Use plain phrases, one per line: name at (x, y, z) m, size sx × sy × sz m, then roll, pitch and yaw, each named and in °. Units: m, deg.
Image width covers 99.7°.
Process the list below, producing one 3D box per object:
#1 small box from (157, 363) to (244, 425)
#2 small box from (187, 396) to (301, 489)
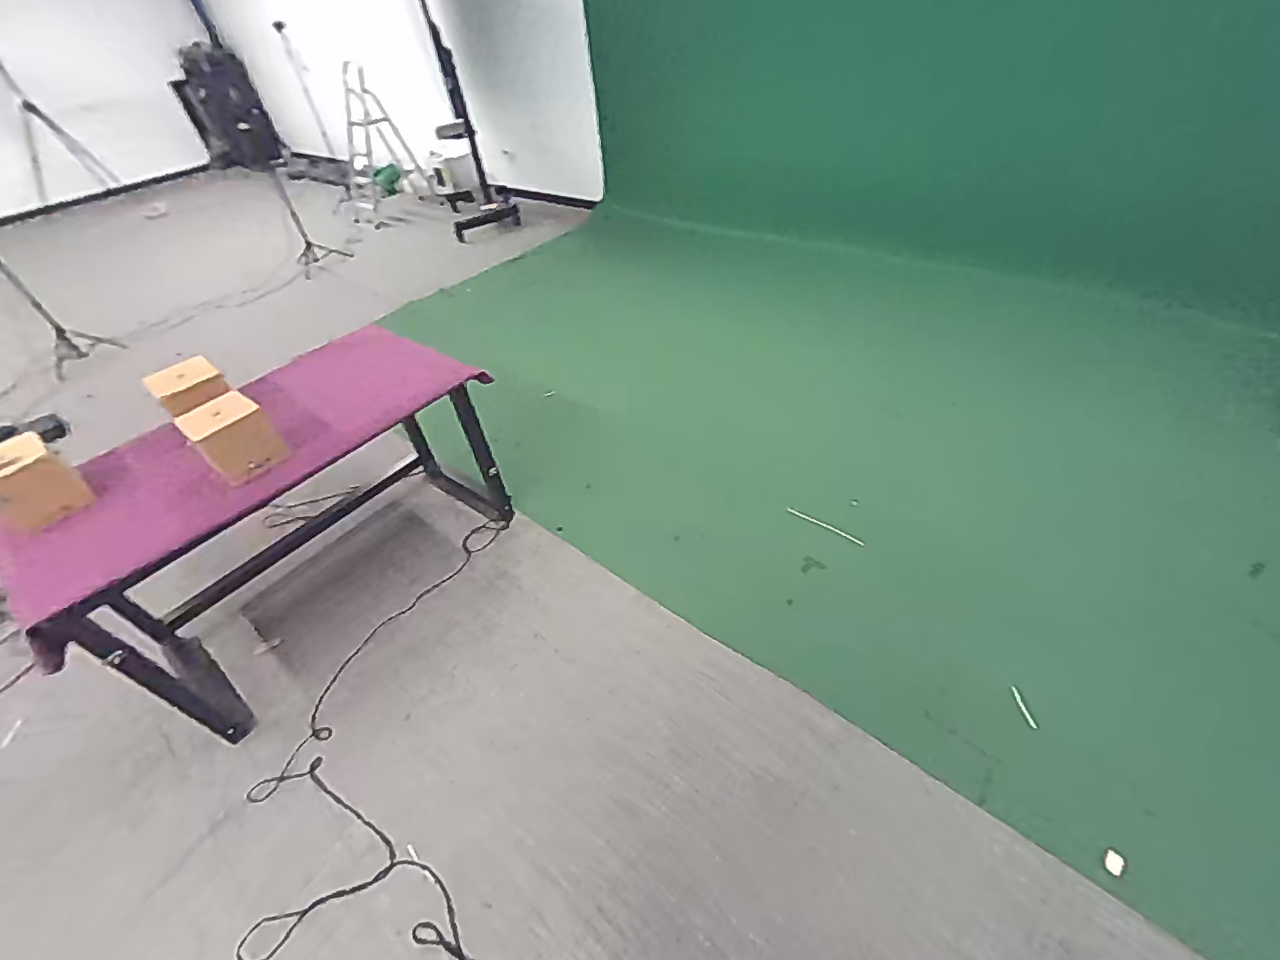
small box at (-1.332, -0.233, 1.677) m, size 0.179 × 0.176 × 0.168 m, roll 29°, pitch 55°, yaw 31°
small box at (-1.091, -0.102, 1.500) m, size 0.179 × 0.176 × 0.168 m, roll 26°, pitch 54°, yaw 32°
